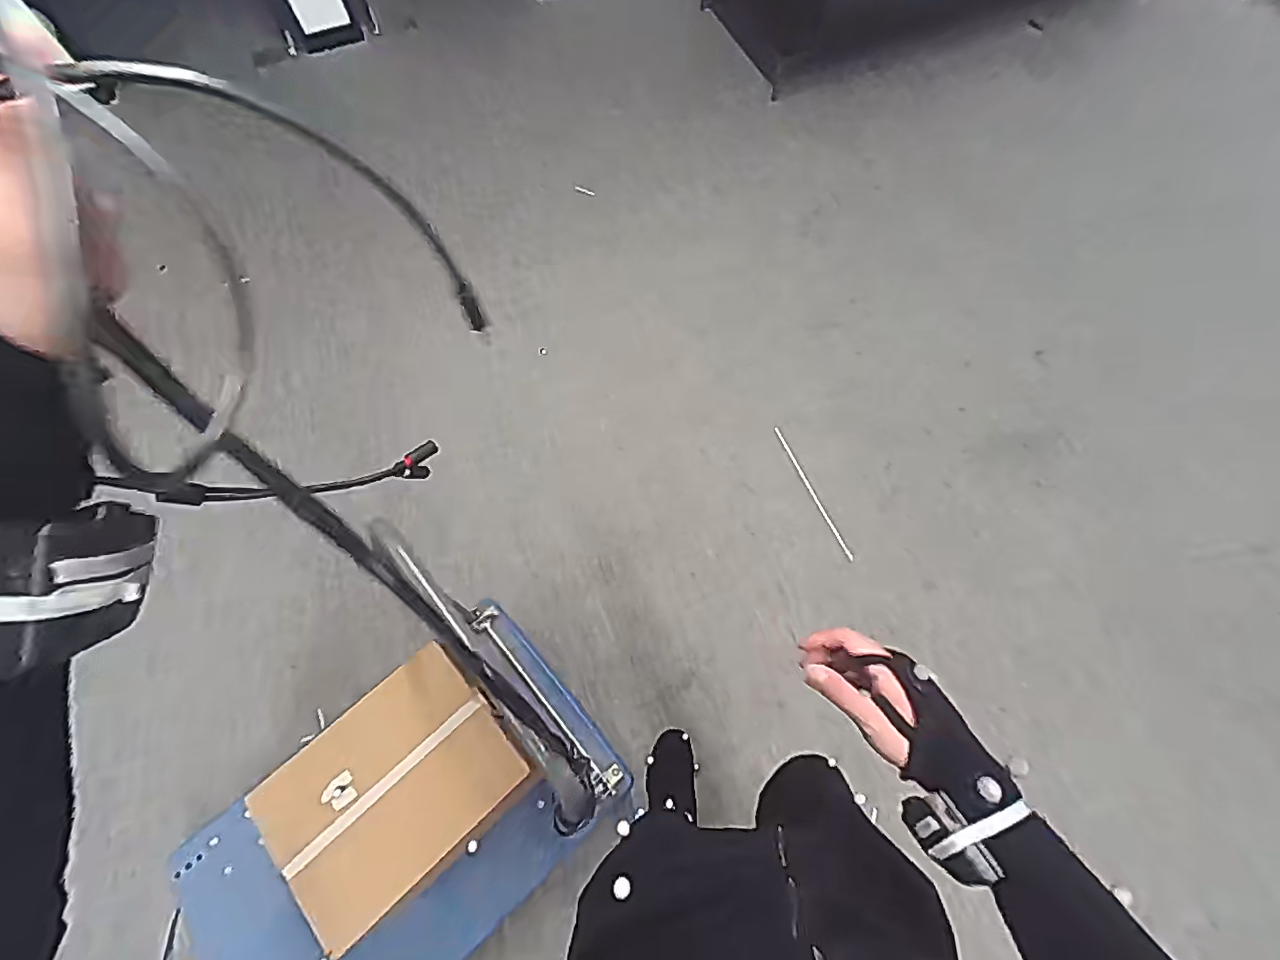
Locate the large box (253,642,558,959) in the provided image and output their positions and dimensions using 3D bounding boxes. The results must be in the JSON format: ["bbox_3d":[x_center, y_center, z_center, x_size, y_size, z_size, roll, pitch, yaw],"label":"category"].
[{"bbox_3d":[-0.431,0.594,1.088,0.408,0.320,0.320,-41,70,-14],"label":"large box"}]
